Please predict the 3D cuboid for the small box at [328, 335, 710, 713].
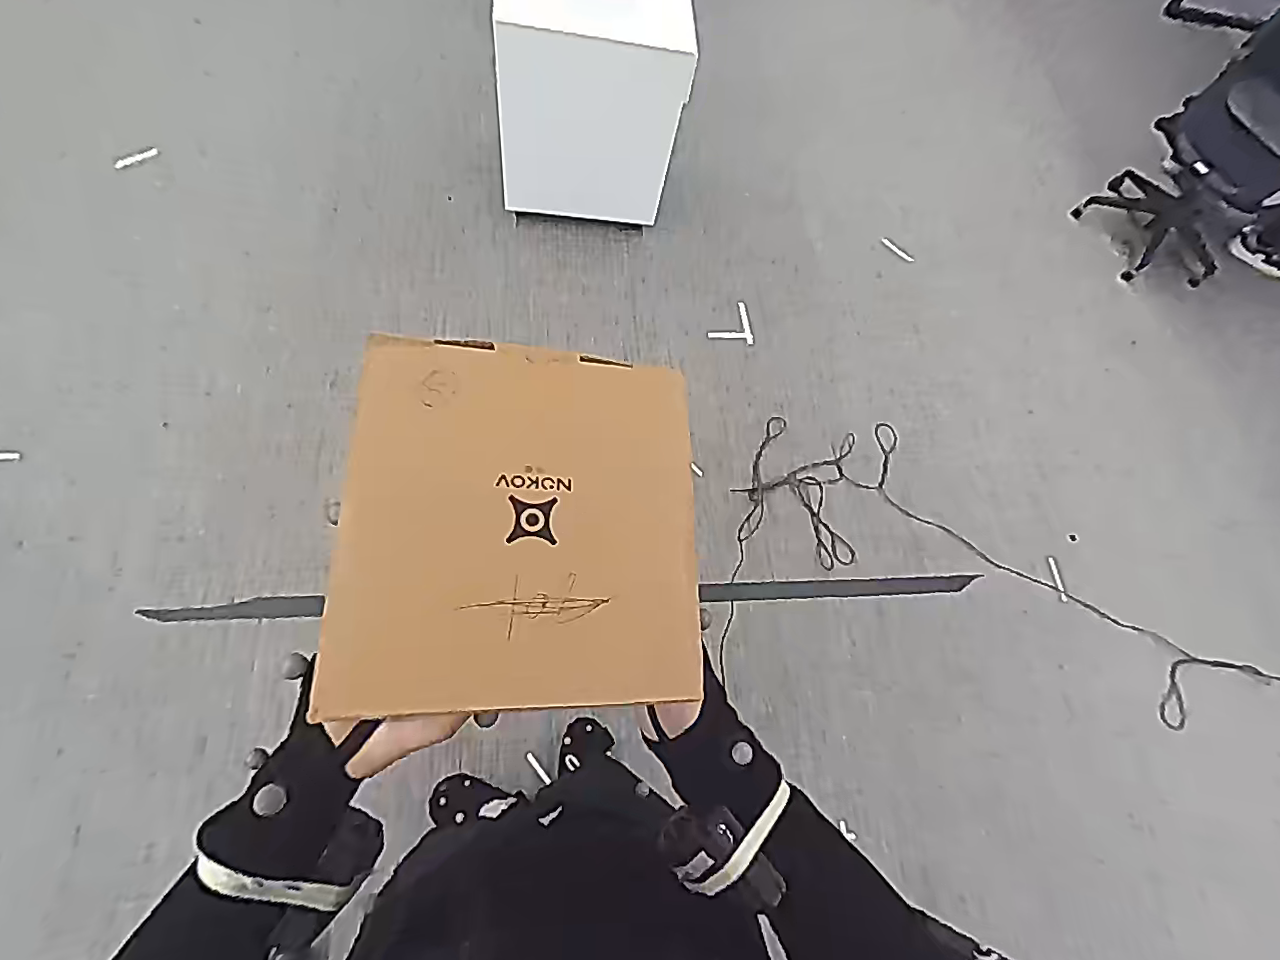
[{"bbox_3d":[-0.069,0.041,0.332,0.168,0.176,0.179,4,71,-16],"label":"small box"}]
